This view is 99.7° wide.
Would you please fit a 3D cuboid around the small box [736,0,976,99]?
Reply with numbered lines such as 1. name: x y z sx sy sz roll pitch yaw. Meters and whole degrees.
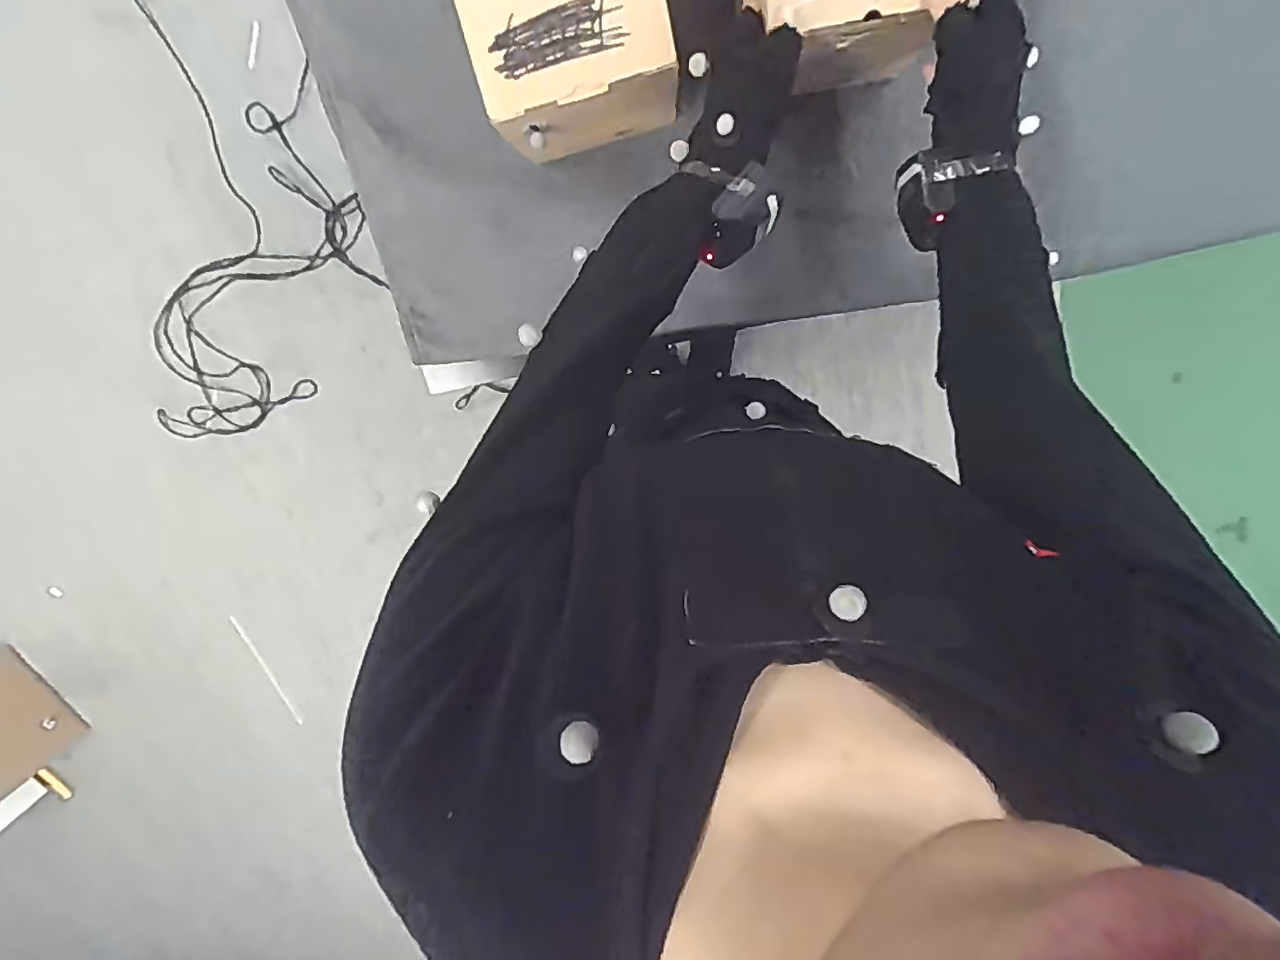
1. small box: 0.177 -0.466 0.478 0.168 0.176 0.179 -6 109 5
